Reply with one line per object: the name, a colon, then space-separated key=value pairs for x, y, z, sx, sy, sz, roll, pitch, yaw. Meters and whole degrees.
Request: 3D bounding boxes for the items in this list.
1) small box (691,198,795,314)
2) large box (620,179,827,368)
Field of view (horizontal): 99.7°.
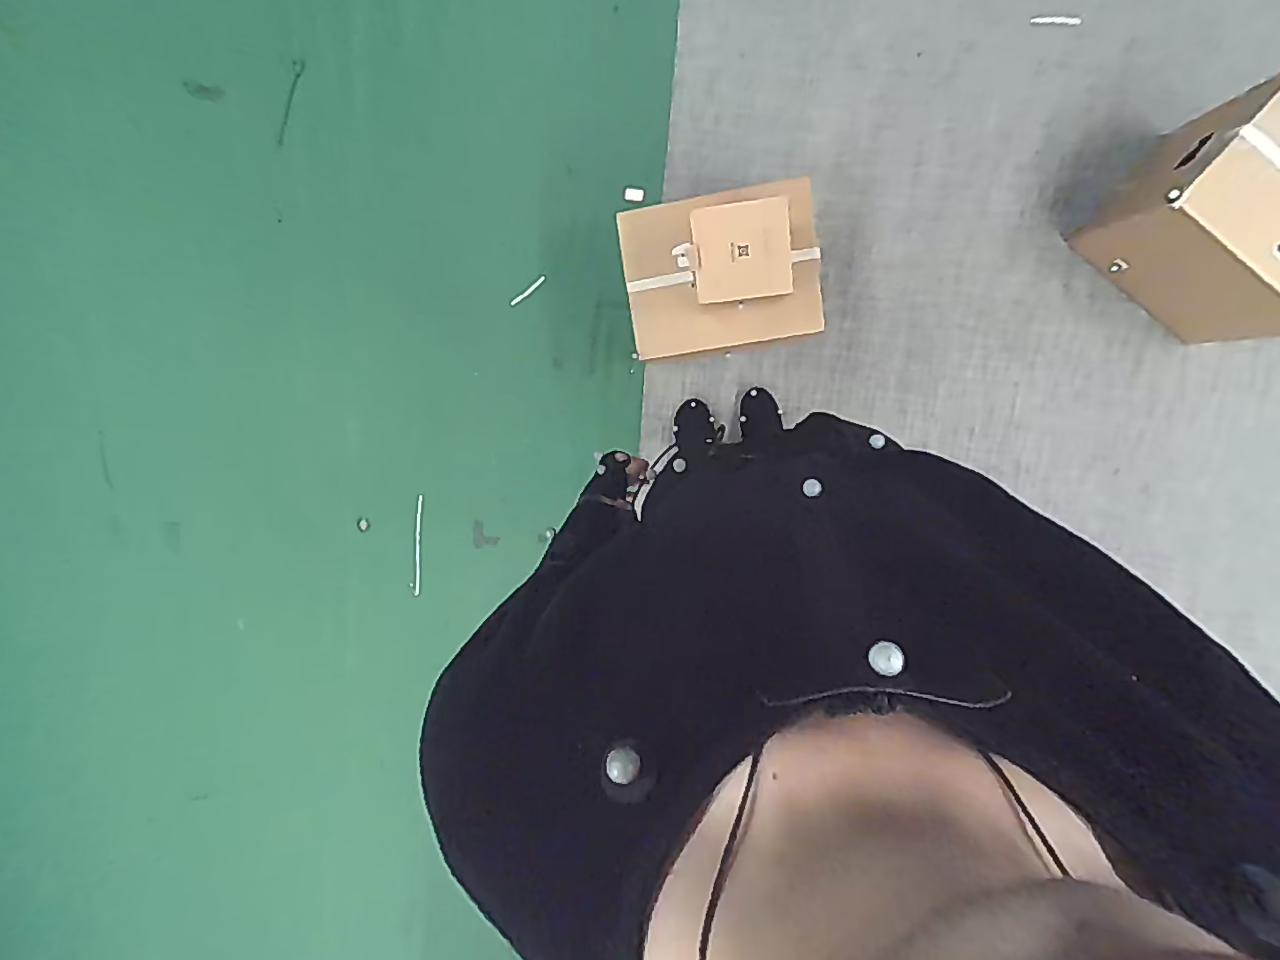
small box: x=0.194 y=-0.419 z=1.037 sx=0.179 sy=0.176 sz=0.168 roll=-5 pitch=101 yaw=7
large box: x=0.195 y=-0.456 z=1.282 sx=0.408 sy=0.320 sz=0.320 roll=-8 pitch=98 yaw=9
